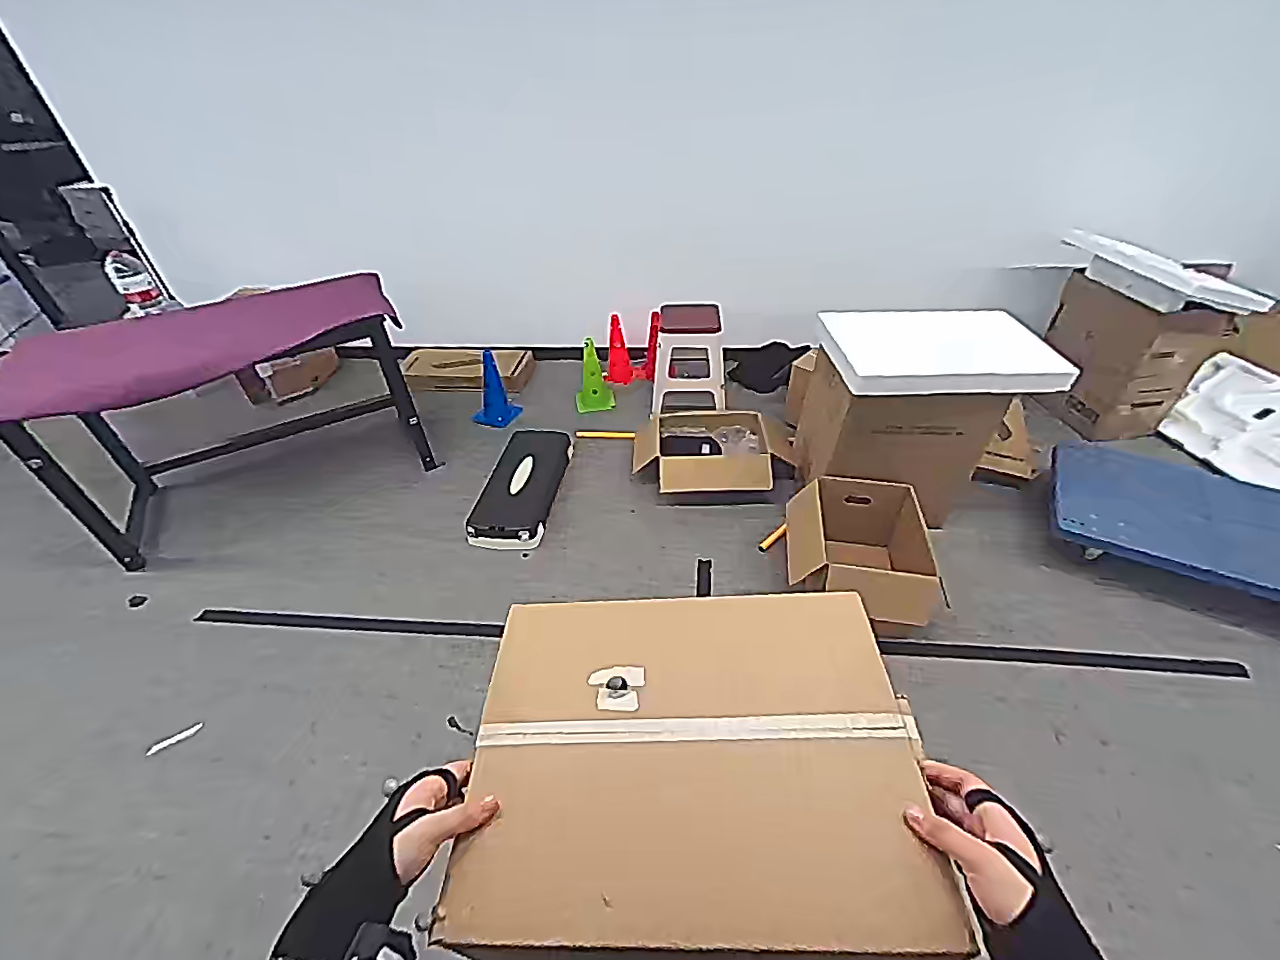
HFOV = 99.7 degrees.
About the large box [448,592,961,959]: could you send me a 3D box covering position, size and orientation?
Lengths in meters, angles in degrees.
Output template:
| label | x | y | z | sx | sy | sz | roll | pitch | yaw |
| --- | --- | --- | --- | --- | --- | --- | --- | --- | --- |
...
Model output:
| label | x | y | z | sx | sy | sz | roll | pitch | yaw |
| --- | --- | --- | --- | --- | --- | --- | --- | --- | --- |
| large box | 0.064 | 0.358 | 0.621 | 0.408 | 0.320 | 0.320 | -5 | 39 | 6 |
